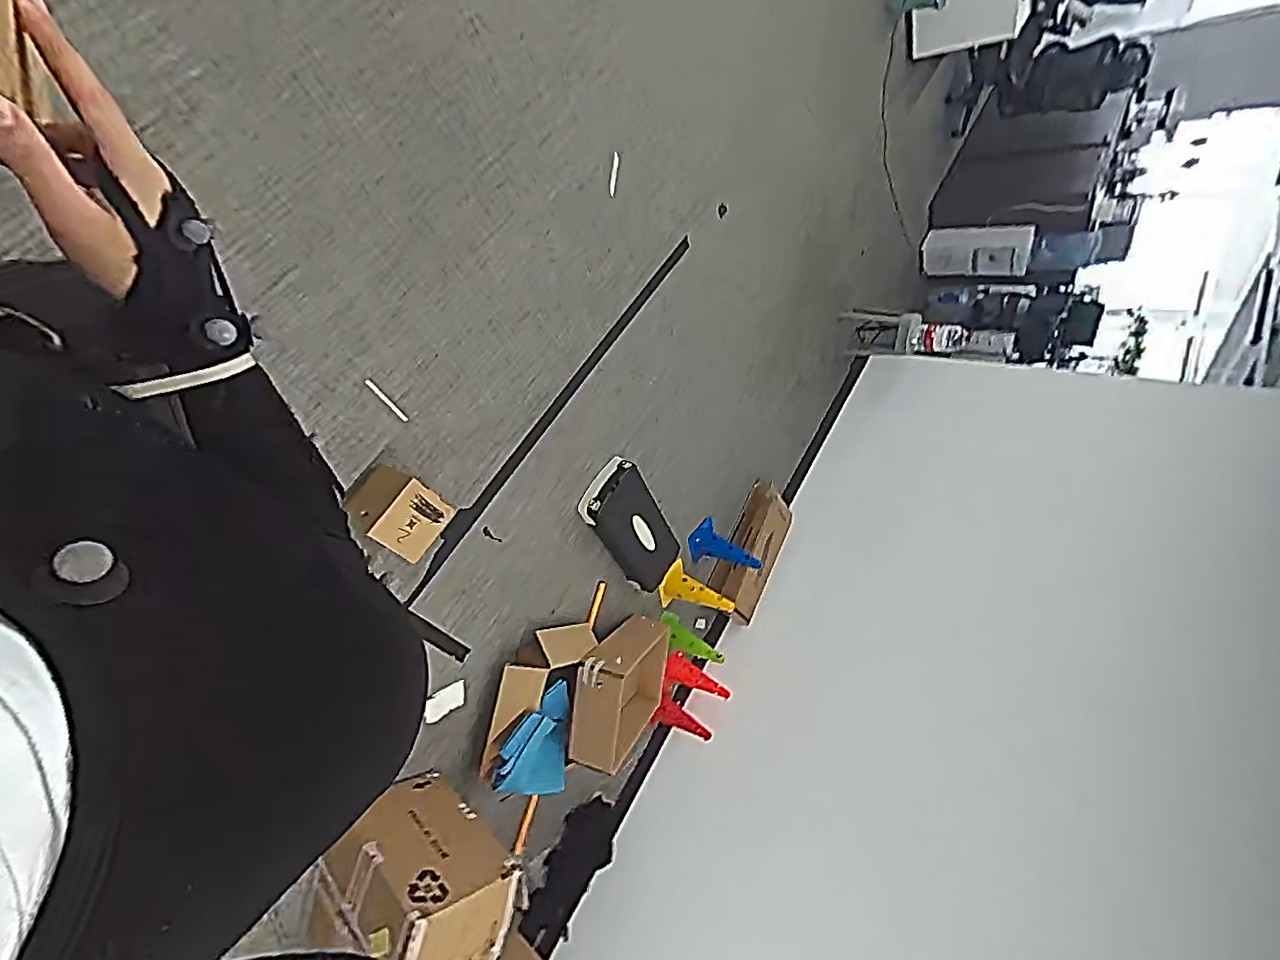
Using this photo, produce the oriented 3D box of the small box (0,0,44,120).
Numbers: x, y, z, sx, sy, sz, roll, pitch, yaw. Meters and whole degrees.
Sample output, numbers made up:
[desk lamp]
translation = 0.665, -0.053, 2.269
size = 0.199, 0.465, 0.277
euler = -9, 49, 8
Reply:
[small box]
translation = -0.372, -0.274, 0.216
size = 0.168, 0.176, 0.179
euler = -4, 119, -43
